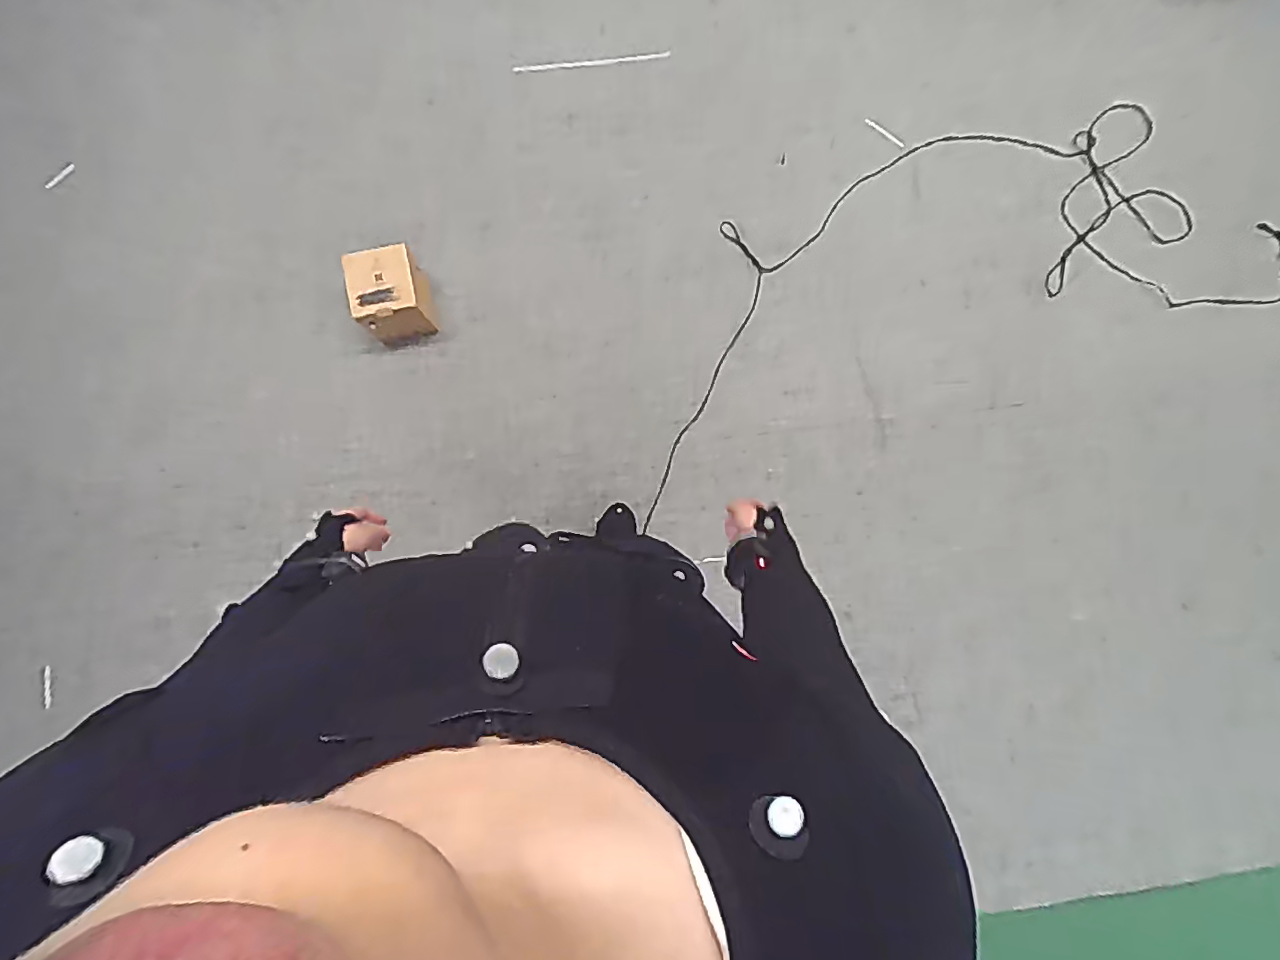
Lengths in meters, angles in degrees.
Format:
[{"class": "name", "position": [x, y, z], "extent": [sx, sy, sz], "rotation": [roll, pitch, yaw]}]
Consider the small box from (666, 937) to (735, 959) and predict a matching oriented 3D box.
[{"class": "small box", "position": [0.155, 1.213, 1.243], "extent": [0.168, 0.176, 0.179], "rotation": [-7, 84, -3]}]
